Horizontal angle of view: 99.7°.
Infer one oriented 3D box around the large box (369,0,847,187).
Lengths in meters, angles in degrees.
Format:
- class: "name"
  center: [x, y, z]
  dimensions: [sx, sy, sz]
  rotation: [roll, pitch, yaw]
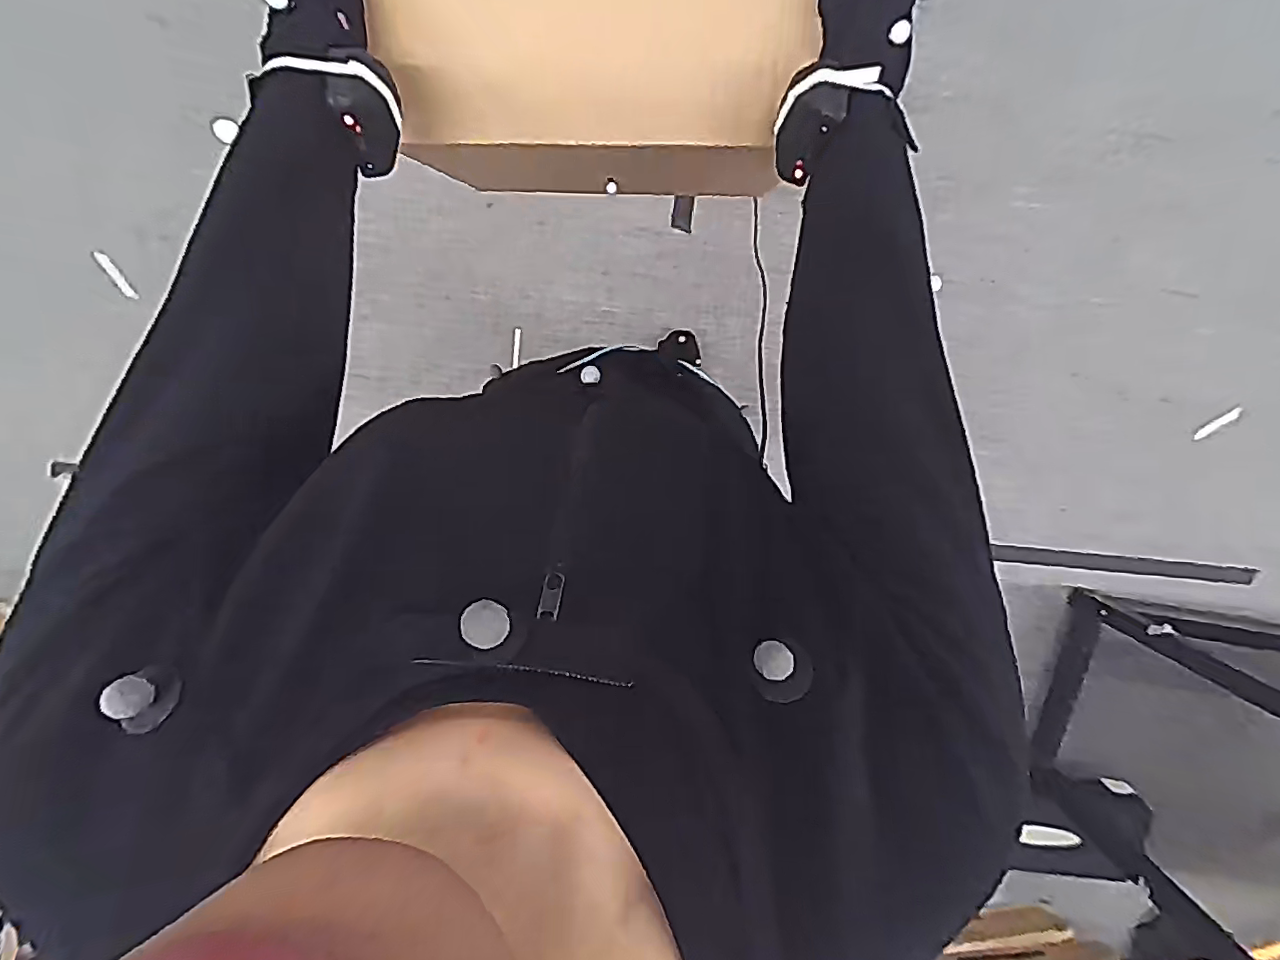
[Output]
- class: "large box"
  center: [-0.020, -0.499, 0.566]
  dimensions: [0.408, 0.320, 0.320]
  rotation: [2, 110, 2]
